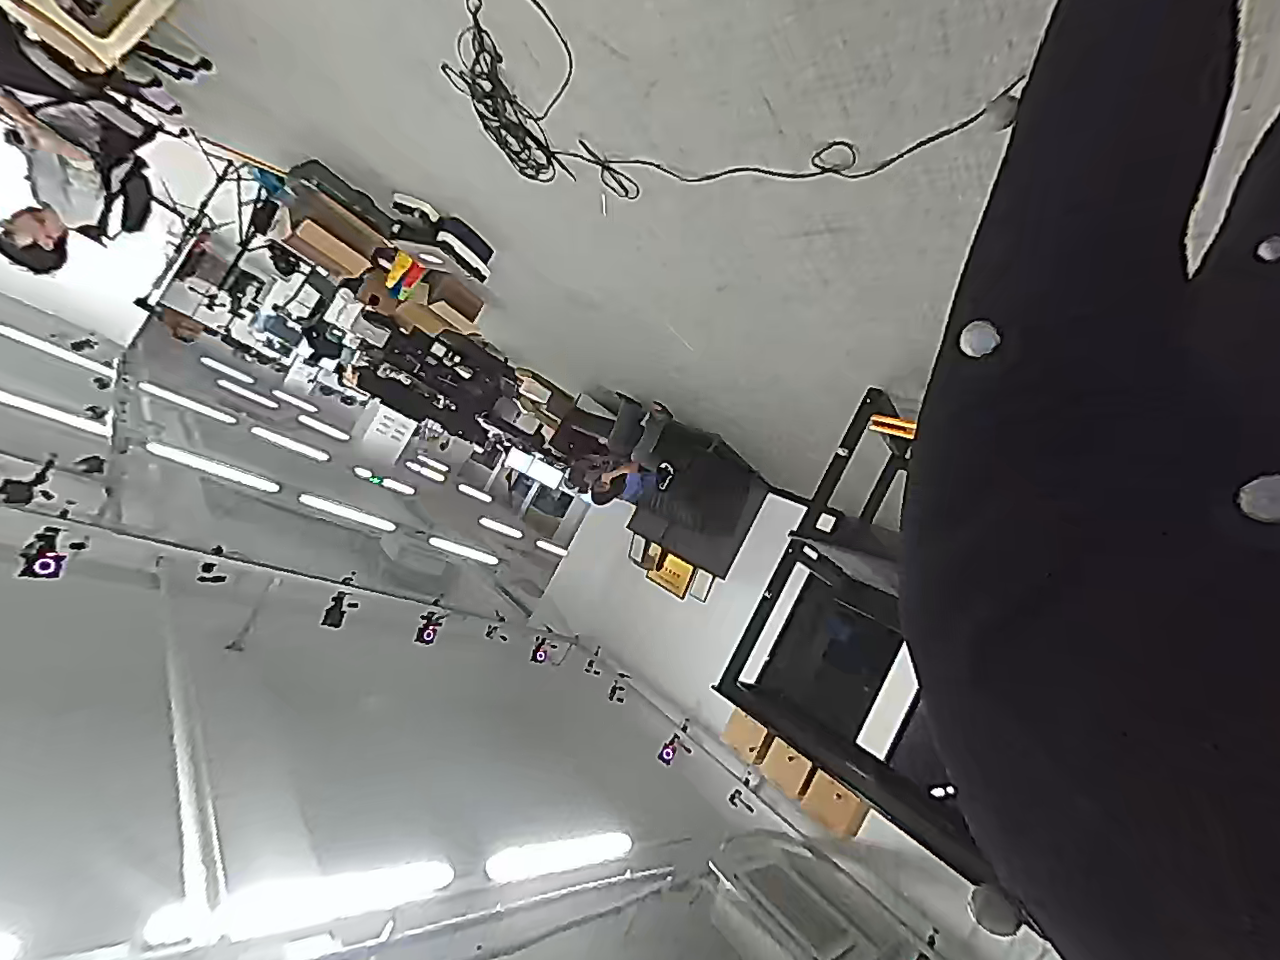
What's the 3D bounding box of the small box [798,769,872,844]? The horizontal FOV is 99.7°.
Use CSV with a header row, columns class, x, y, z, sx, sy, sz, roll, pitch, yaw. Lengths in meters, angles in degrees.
class,x,y,z,sx,sy,sz,roll,pitch,yaw
small box,0.706,1.168,1.947,0.168,0.176,0.179,25,174,45
